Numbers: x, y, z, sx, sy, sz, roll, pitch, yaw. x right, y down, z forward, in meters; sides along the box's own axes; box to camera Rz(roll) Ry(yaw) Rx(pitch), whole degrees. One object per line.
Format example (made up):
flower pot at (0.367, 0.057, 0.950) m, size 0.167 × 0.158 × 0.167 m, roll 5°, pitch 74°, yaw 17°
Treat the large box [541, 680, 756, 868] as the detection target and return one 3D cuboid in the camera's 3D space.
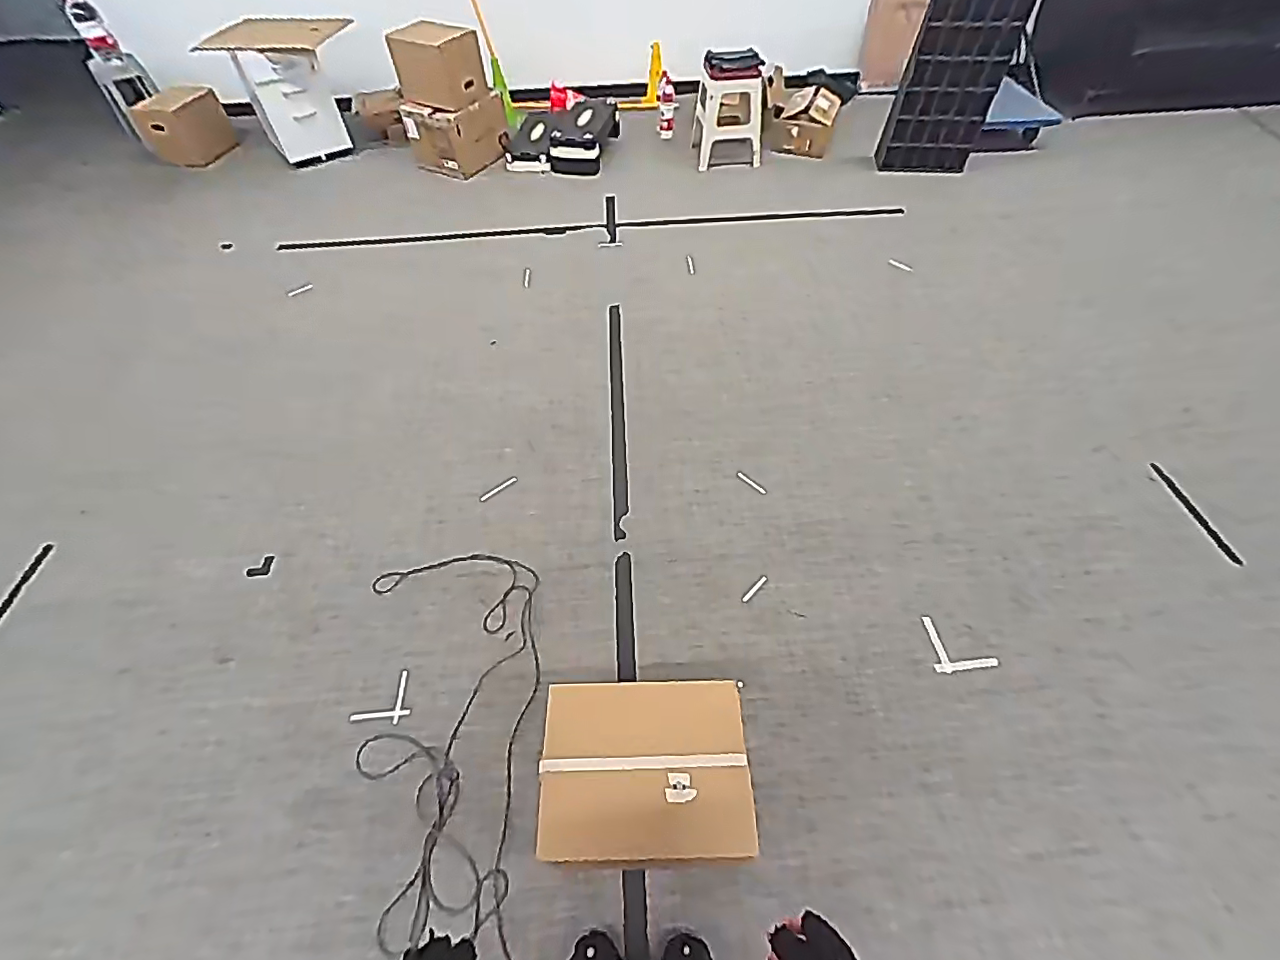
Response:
large box at (0.012, 0.651, 1.190) m, size 0.408 × 0.320 × 0.320 m, roll -1°, pitch 52°, yaw 0°
